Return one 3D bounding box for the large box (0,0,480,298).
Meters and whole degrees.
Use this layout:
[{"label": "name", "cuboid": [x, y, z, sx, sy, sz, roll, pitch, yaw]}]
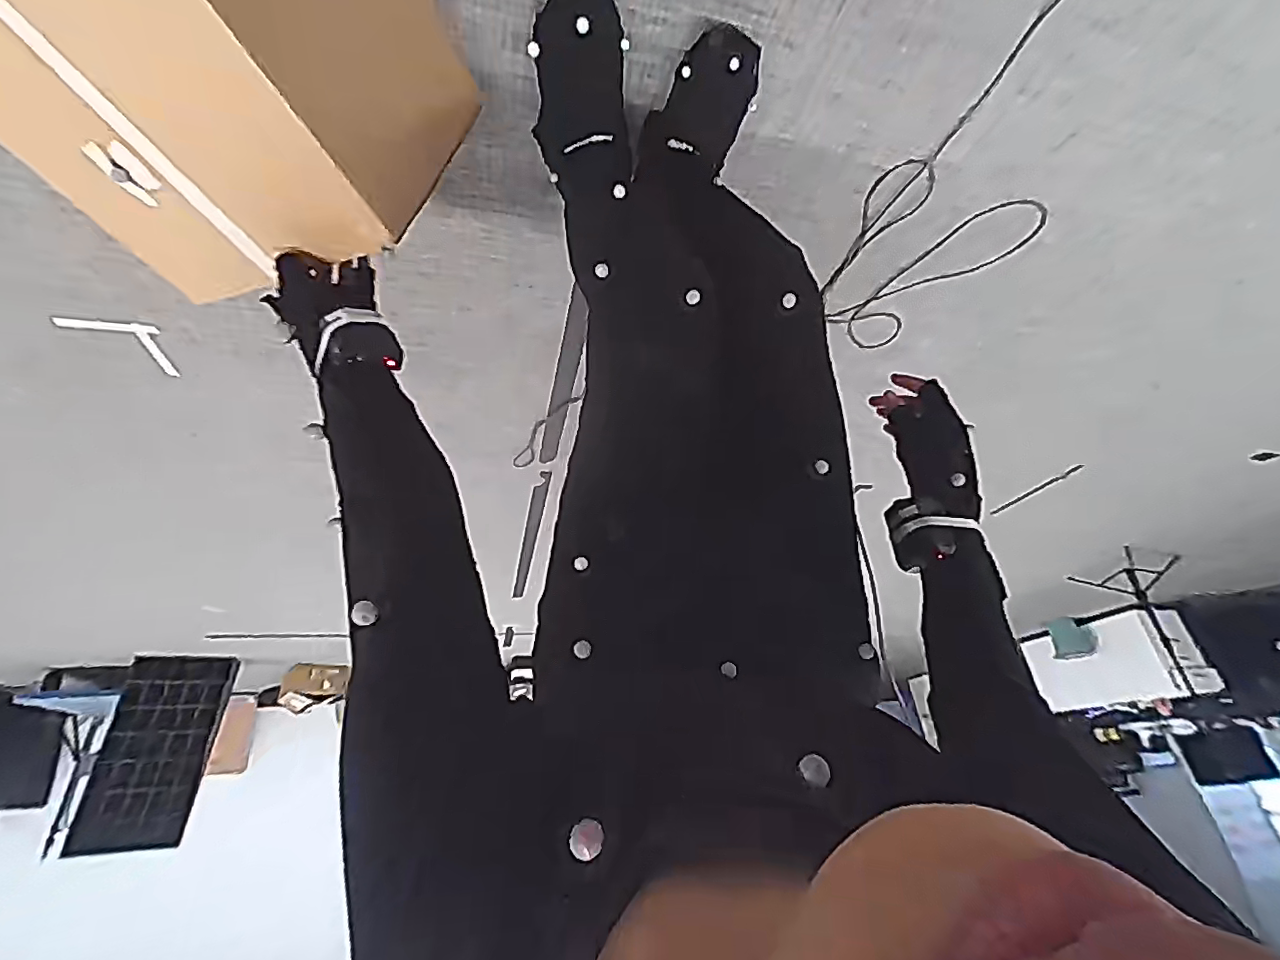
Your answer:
[{"label": "large box", "cuboid": [-0.432, -0.467, 0.532, 0.320, 0.320, 0.408, -5, 147, 23]}]
